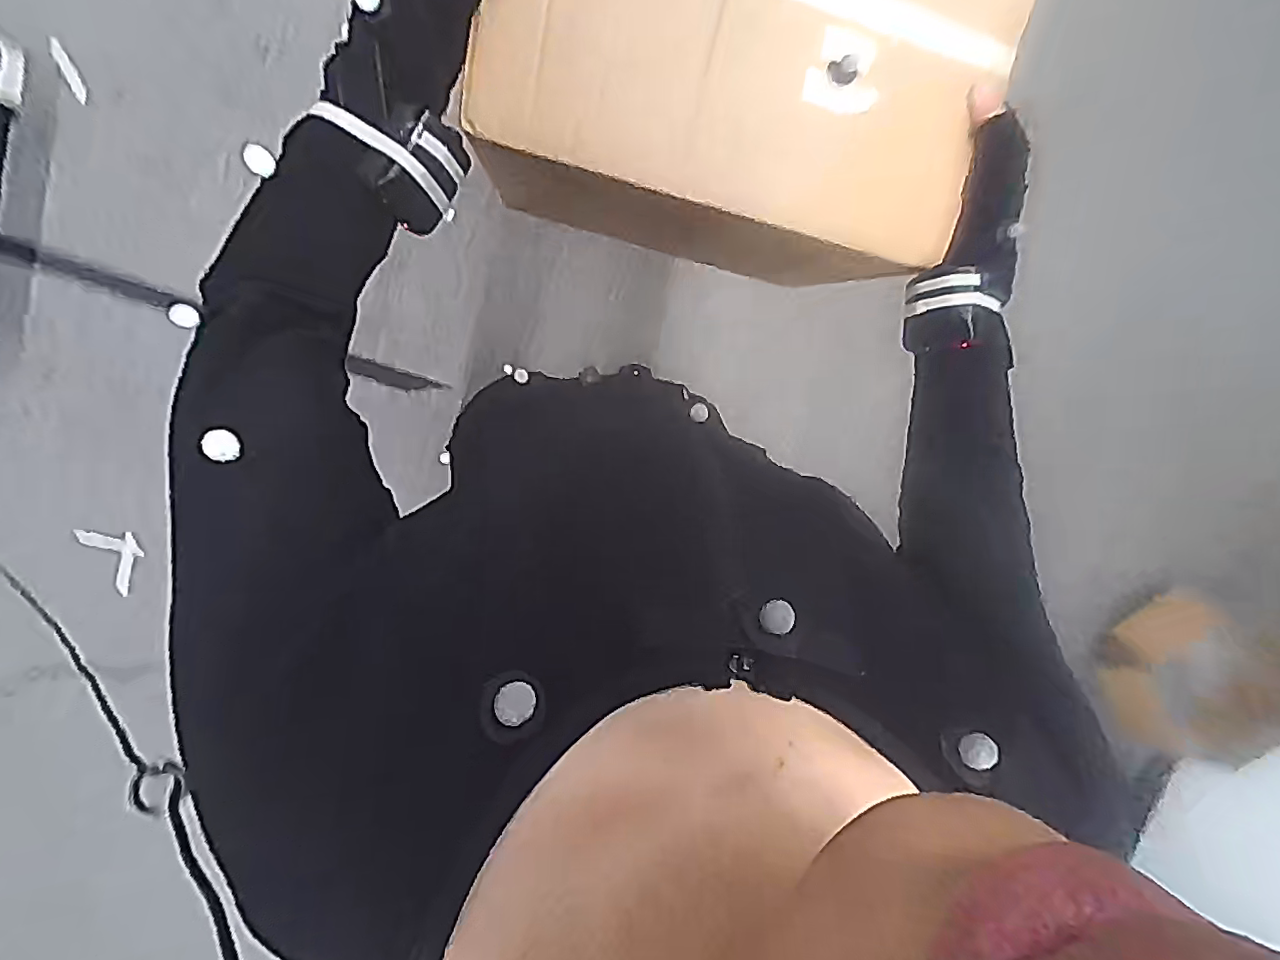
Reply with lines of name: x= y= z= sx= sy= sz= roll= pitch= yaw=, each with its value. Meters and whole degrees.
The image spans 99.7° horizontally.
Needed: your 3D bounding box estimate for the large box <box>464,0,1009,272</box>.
large box: x=0.067 y=-0.417 z=0.537 sx=0.408 sy=0.320 sz=0.320 roll=9 pitch=106 yaw=-11
